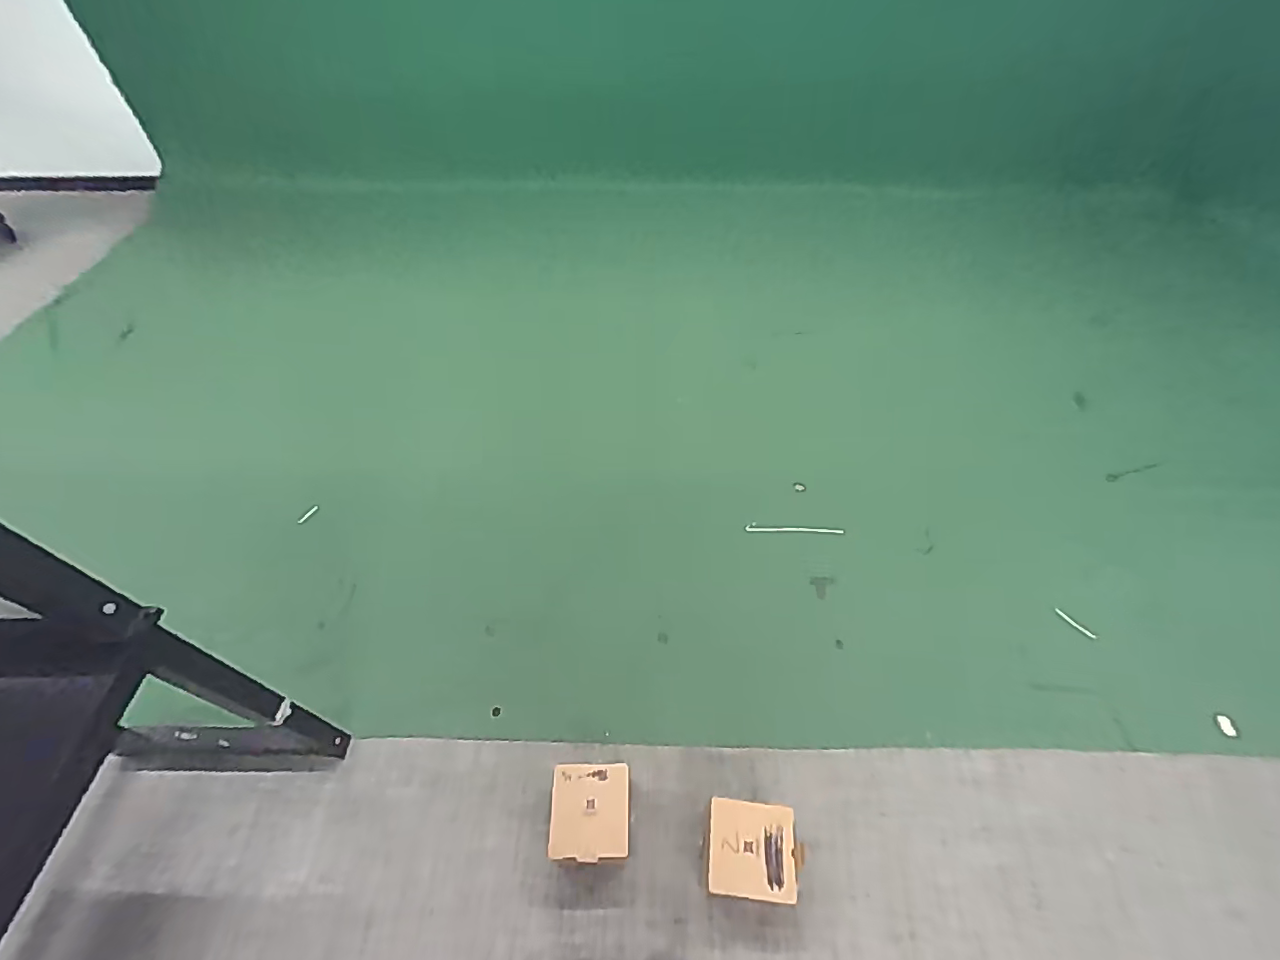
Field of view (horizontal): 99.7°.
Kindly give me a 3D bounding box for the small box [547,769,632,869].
[{"bbox_3d":[-0.103,0.748,1.189,0.168,0.176,0.179,-2,52,0],"label":"small box"}]
